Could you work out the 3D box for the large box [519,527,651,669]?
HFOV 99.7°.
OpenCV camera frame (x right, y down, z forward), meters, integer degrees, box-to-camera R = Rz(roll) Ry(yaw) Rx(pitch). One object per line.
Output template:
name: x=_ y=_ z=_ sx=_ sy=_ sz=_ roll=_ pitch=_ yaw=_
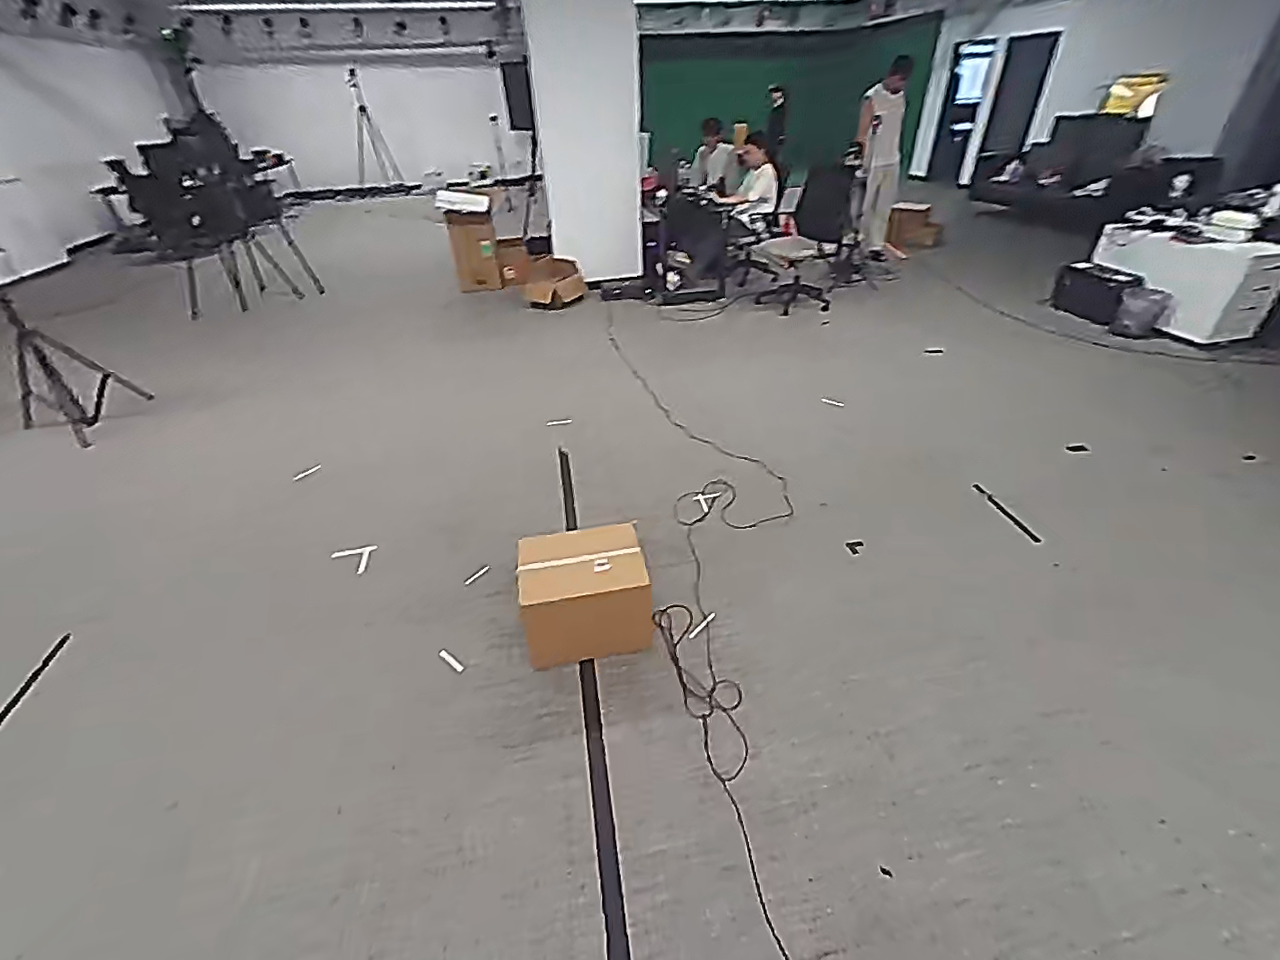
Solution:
large box: x=-0.189 y=0.398 z=1.849 sx=0.408 sy=0.320 sz=0.320 roll=-8 pitch=35 yaw=-8
